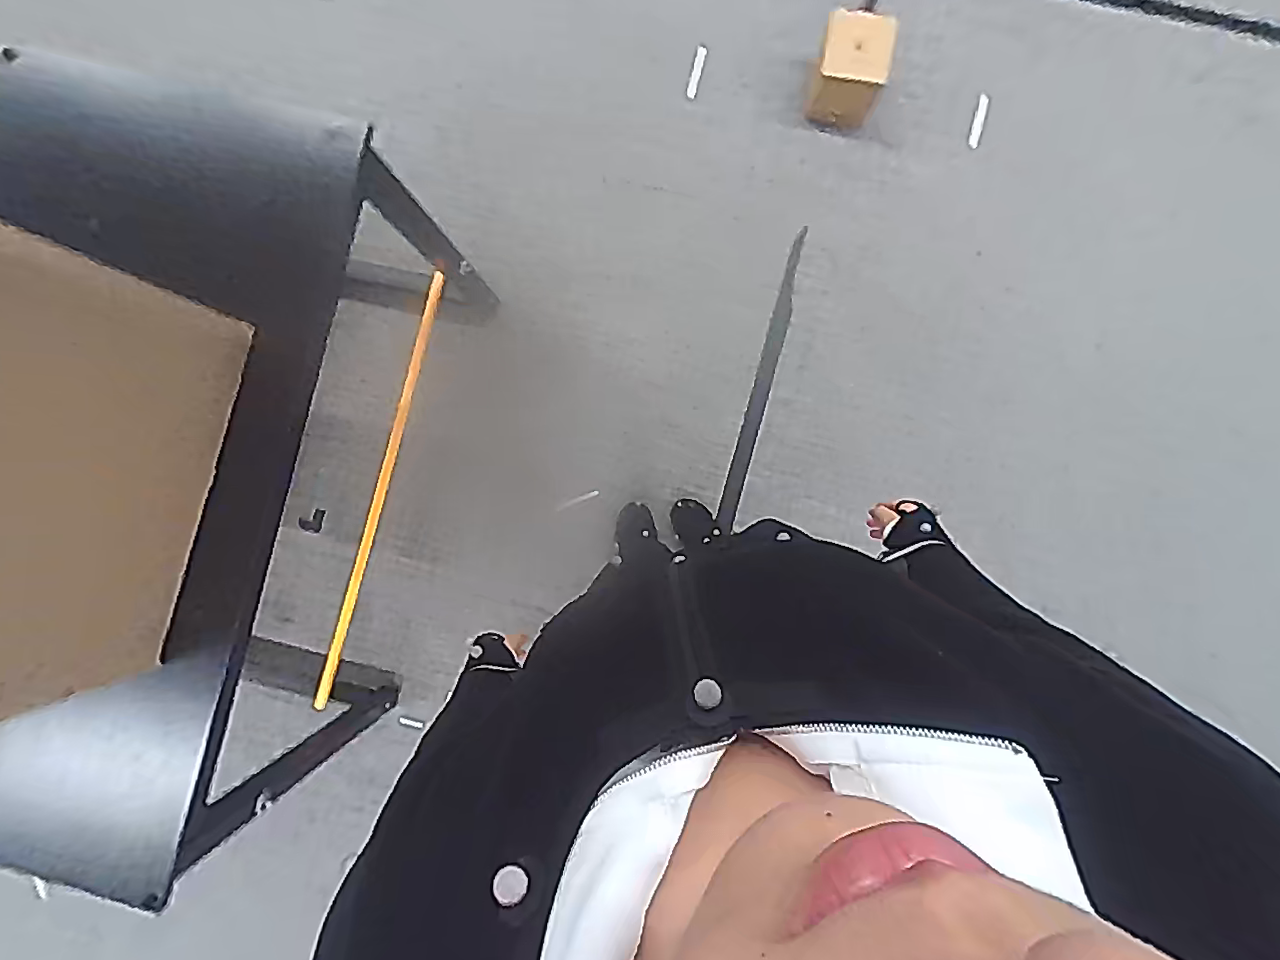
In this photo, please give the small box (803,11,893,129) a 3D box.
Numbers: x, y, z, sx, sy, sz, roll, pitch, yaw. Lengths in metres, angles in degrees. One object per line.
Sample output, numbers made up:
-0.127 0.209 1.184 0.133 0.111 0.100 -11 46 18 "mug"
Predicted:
0.547 -1.086 1.441 0.168 0.176 0.179 9 90 3 "small box"
